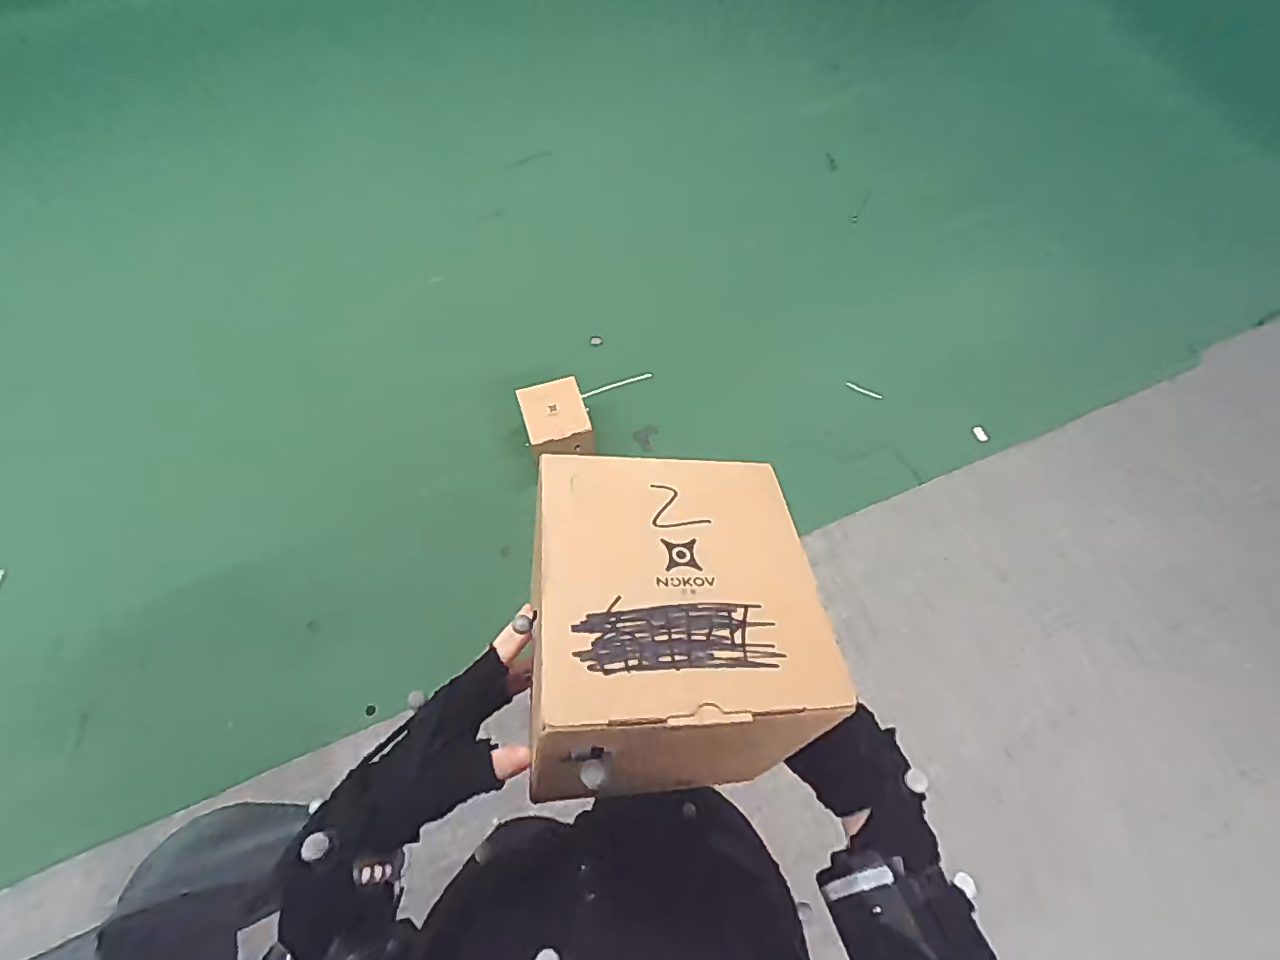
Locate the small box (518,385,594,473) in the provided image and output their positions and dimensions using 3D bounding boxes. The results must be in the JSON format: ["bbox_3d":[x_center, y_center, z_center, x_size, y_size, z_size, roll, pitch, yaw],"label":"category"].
[{"bbox_3d":[-0.231,-0.136,1.519,0.168,0.176,0.179,-17,69,-10],"label":"small box"}]
